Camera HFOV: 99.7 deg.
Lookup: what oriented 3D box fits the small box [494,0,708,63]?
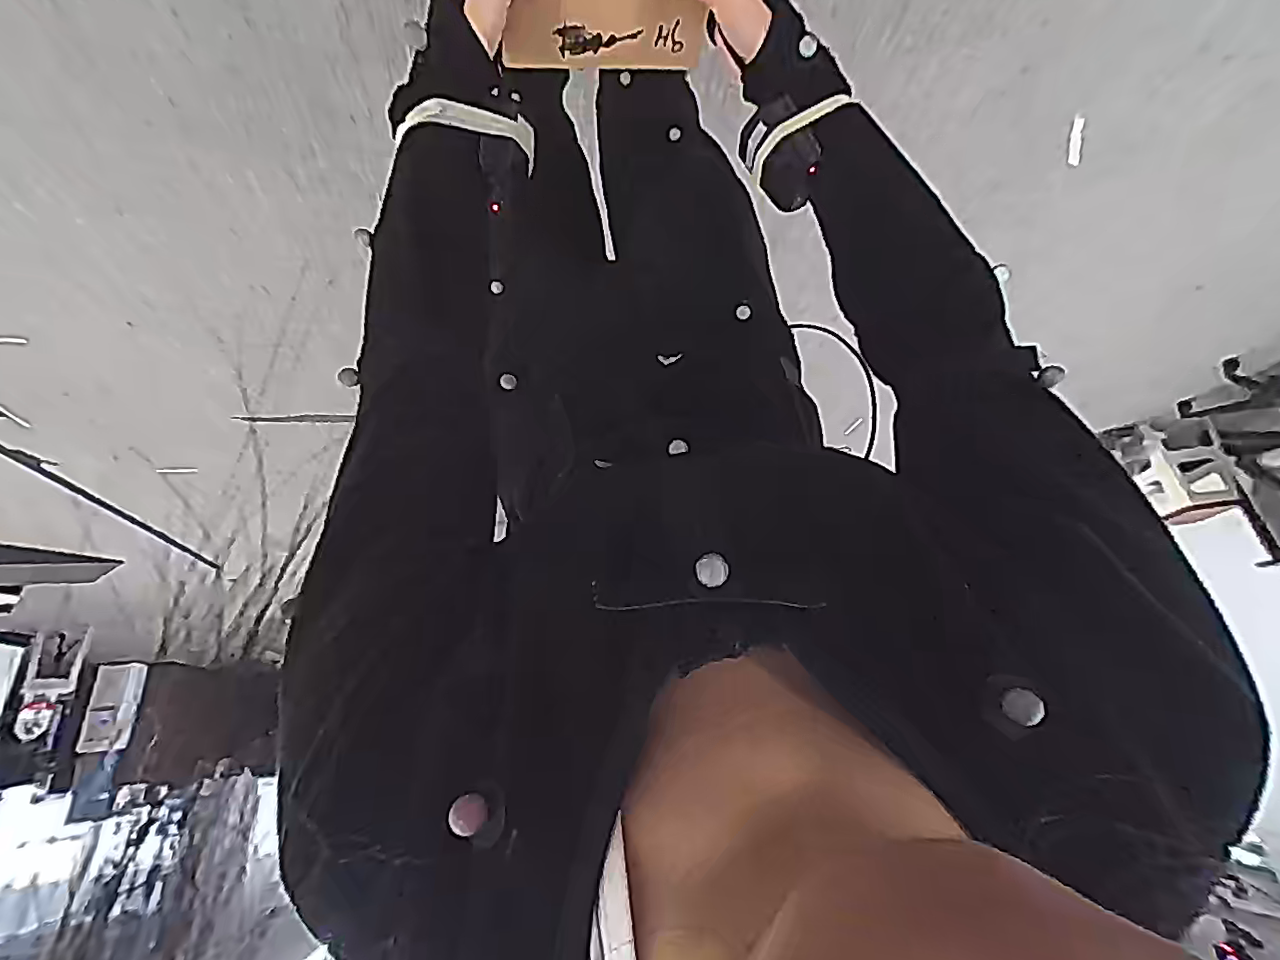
[{"bbox_3d":[-0.034,-0.454,0.397,0.168,0.176,0.179,-4,160,-7],"label":"small box"}]
